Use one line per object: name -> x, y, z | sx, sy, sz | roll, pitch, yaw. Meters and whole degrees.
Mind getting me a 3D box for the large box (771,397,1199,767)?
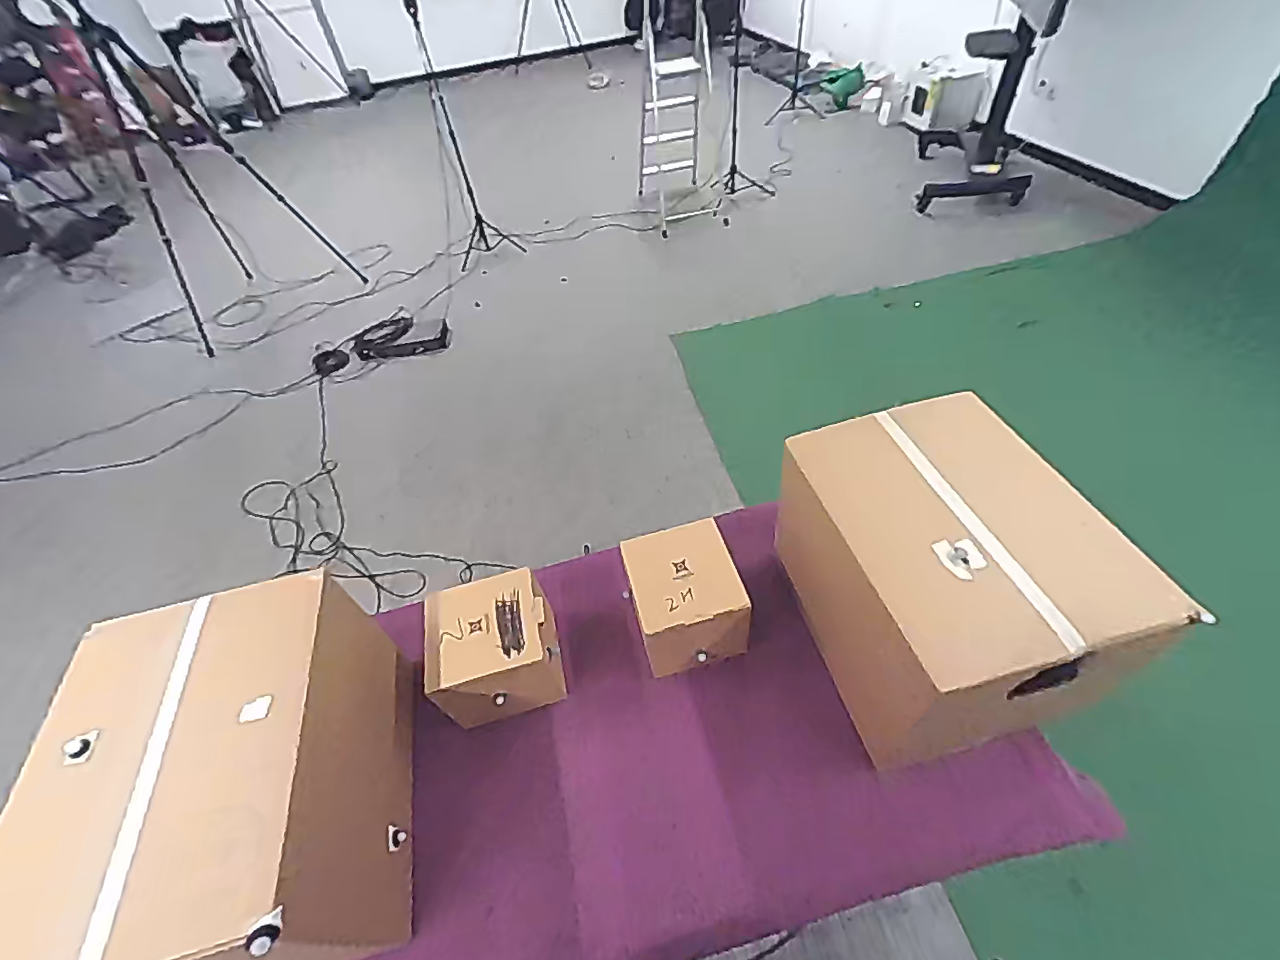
large box -> 0.427, 0.143, 0.811 | 0.320, 0.320, 0.408 | -15, 49, -4
